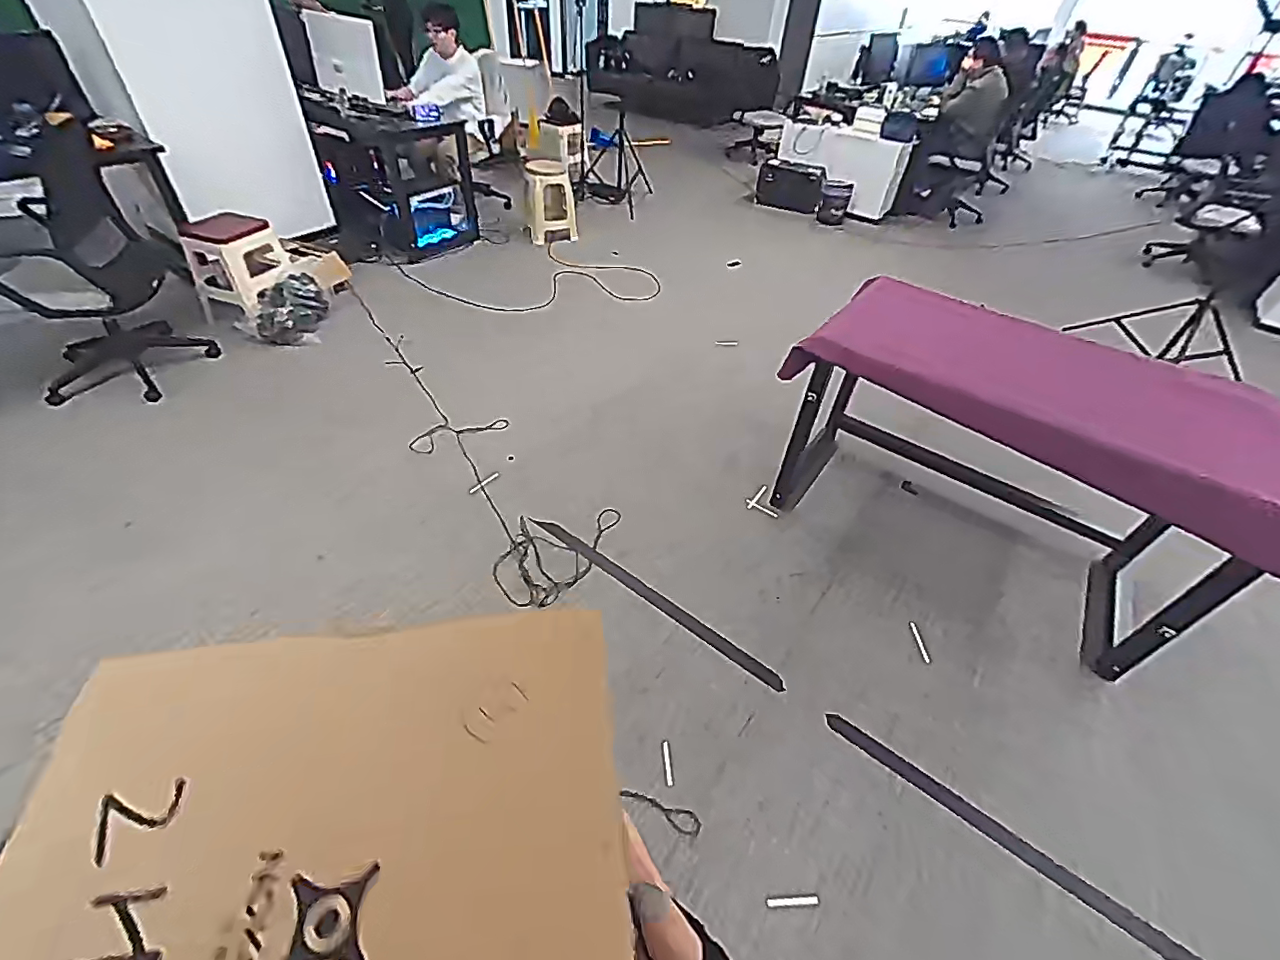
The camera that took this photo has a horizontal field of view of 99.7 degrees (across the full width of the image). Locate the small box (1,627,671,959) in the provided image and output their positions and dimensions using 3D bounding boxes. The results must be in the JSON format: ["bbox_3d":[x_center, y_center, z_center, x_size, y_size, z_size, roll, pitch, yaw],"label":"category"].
[{"bbox_3d":[-0.082,0.174,0.207,0.179,0.176,0.168,-5,50,-5],"label":"small box"}]
